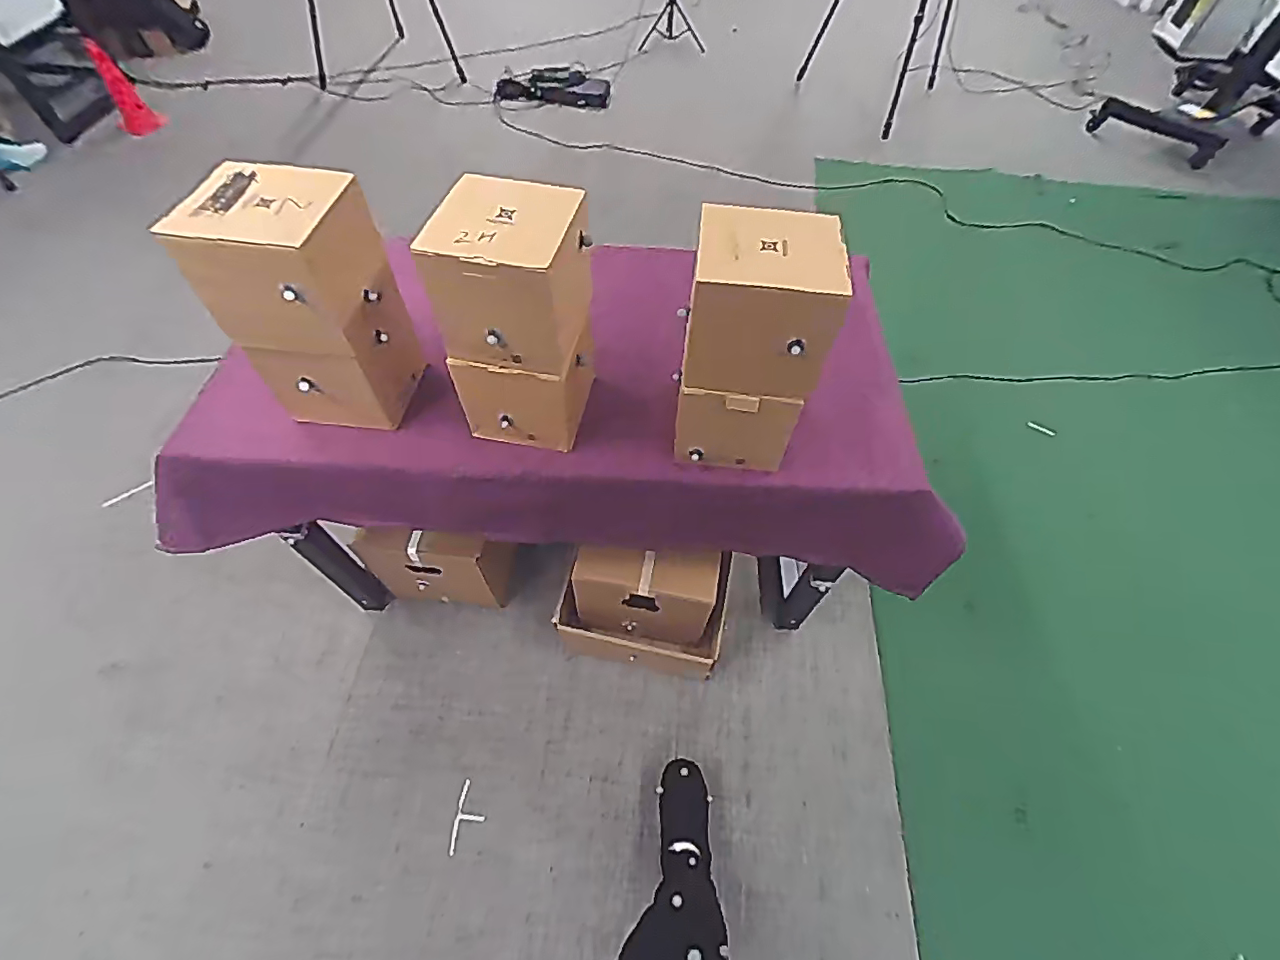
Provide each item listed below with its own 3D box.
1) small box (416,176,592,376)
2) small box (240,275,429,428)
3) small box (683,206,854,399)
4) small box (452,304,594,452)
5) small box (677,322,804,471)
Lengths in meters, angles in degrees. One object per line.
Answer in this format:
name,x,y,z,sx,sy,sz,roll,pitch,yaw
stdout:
small box,-0.164,-0.268,0.722,0.168,0.176,0.179,11,58,6
small box,-0.467,-0.199,0.861,0.179,0.176,0.168,6,57,3
small box,0.156,-0.224,0.702,0.179,0.176,0.168,7,56,3
small box,-0.171,-0.172,0.855,0.168,0.176,0.179,10,58,5
small box,0.148,-0.132,0.837,0.168,0.176,0.179,6,55,2
